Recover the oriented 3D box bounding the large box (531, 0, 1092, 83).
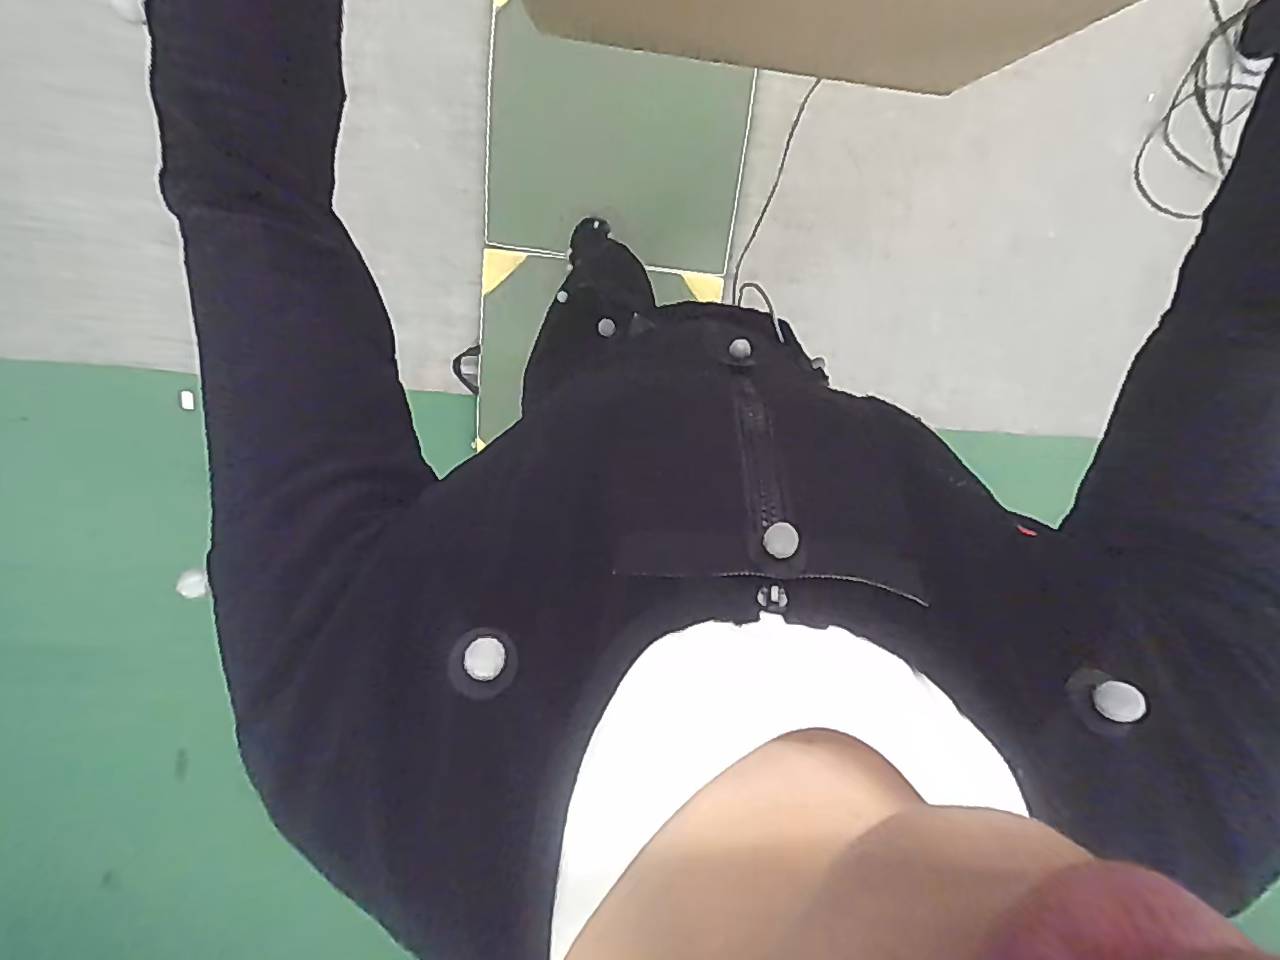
[{"bbox_3d":[0.118,-0.485,0.326,0.408,0.320,0.320,6,114,-3],"label":"large box"}]
